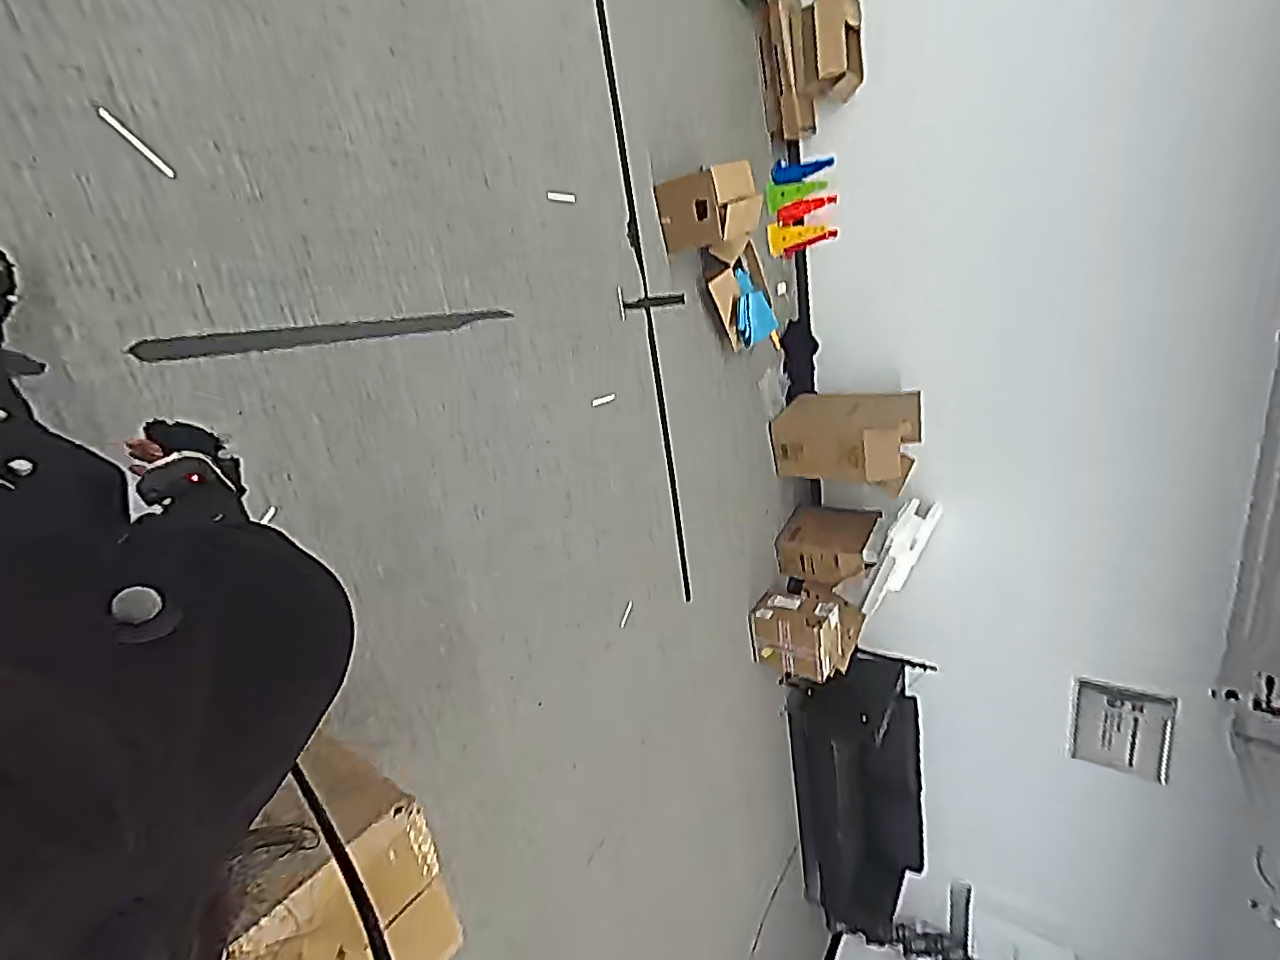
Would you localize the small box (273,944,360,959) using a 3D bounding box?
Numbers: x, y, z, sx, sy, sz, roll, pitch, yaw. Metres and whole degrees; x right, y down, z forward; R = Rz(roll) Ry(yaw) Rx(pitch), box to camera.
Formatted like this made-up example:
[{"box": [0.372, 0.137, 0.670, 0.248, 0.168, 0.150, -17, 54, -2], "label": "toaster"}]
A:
[{"box": [-0.513, 0.858, 0.828, 0.179, 0.176, 0.168, 56, 51, -37], "label": "small box"}]
